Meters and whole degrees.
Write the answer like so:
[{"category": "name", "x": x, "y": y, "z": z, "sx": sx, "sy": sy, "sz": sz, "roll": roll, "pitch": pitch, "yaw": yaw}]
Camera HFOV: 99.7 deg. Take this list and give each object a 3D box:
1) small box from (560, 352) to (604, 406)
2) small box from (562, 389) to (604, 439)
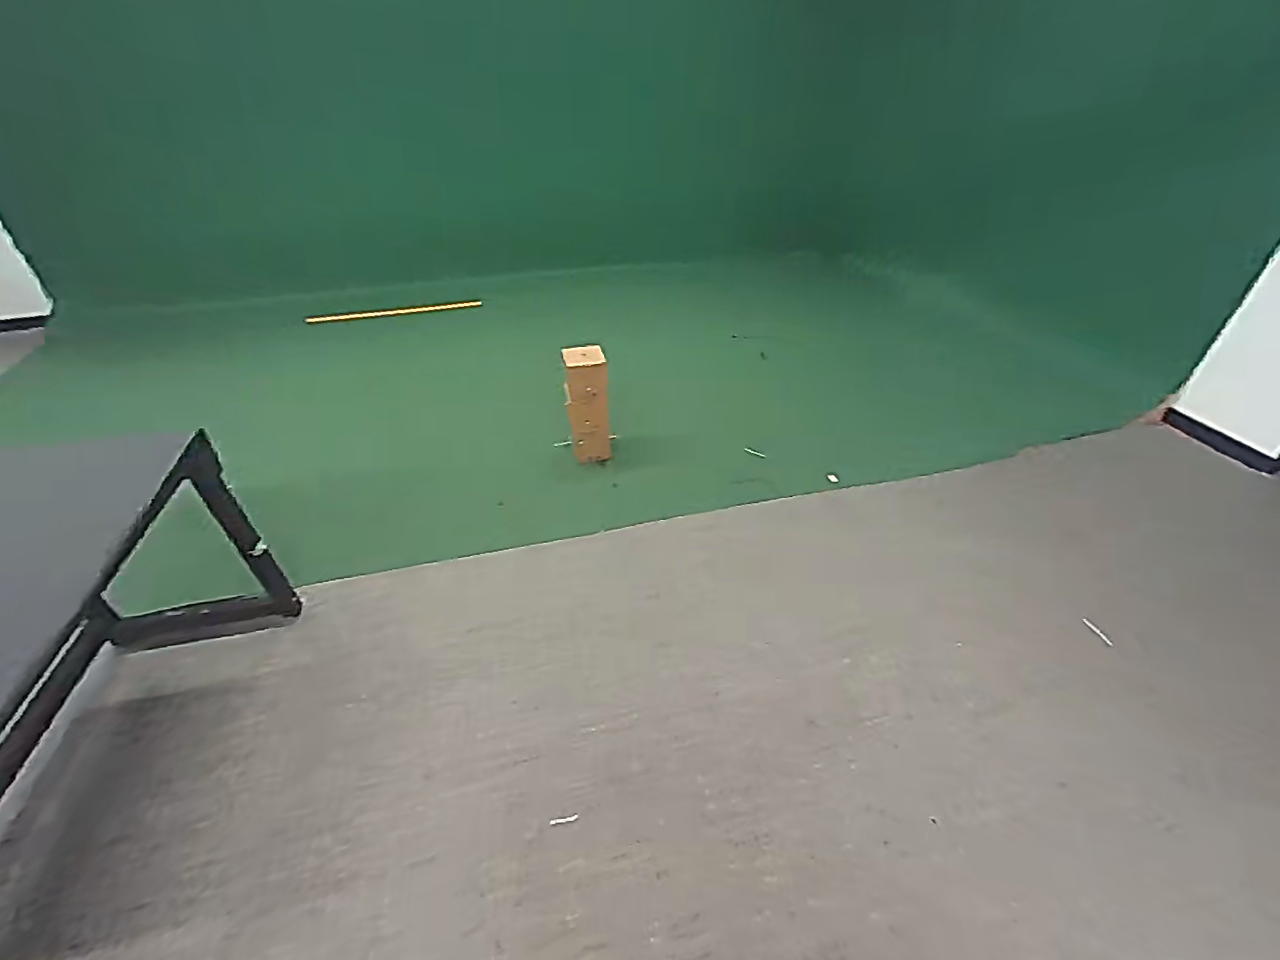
[{"category": "small box", "x": -0.253, "y": -0.439, "z": 2.348, "sx": 0.168, "sy": 0.176, "sz": 0.179, "roll": -8, "pitch": 38, "yaw": -10}, {"category": "small box", "x": -0.259, "y": -0.304, "z": 2.444, "sx": 0.168, "sy": 0.176, "sz": 0.179, "roll": -9, "pitch": 38, "yaw": -12}]
